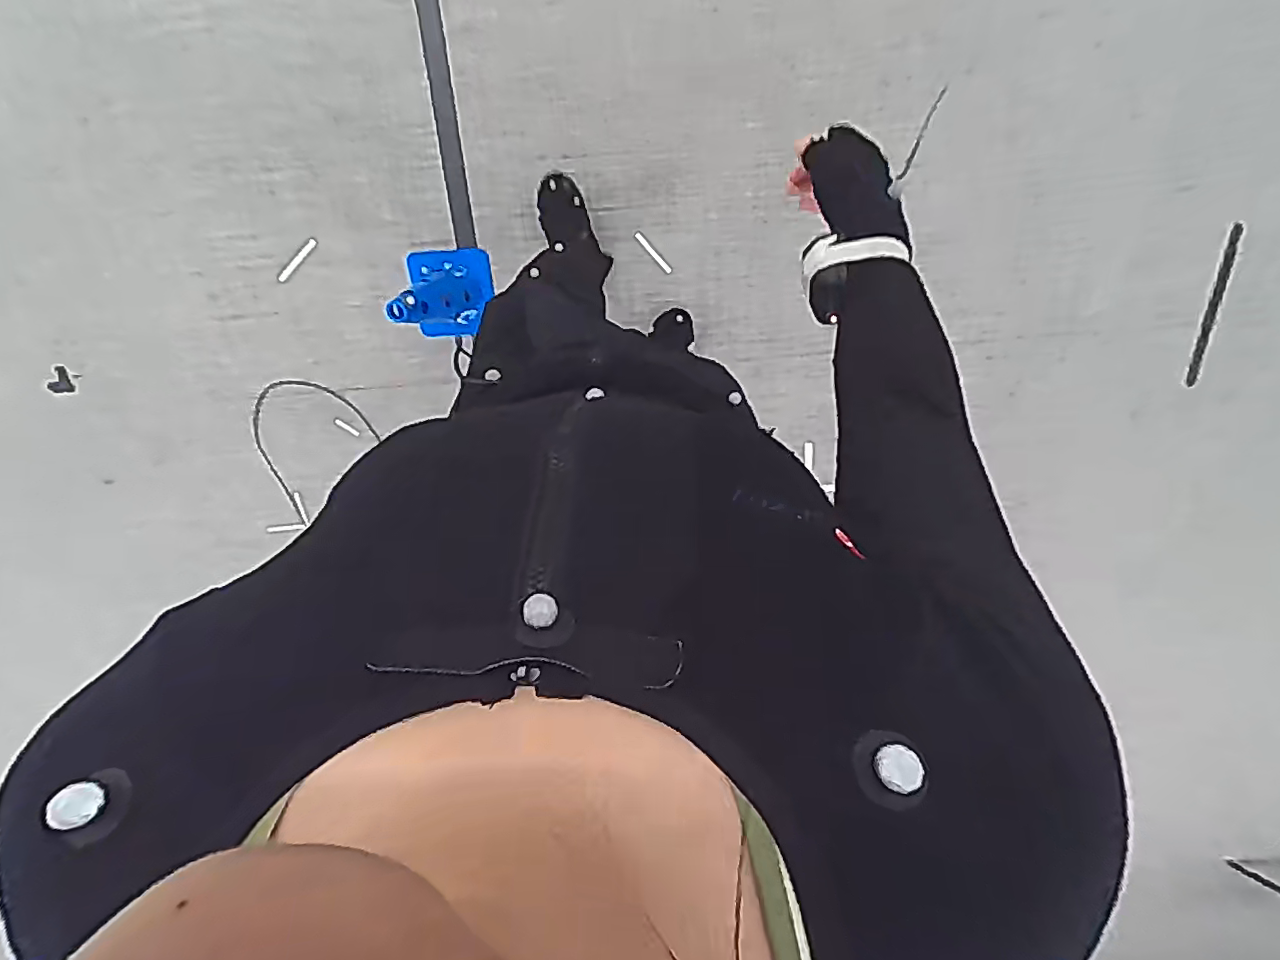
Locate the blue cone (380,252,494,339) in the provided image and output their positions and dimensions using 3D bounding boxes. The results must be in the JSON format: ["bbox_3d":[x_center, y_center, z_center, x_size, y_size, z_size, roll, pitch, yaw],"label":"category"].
[{"bbox_3d":[-0.457,-0.377,1.161,0.193,0.380,0.192,-4,114,2],"label":"blue cone"}]
